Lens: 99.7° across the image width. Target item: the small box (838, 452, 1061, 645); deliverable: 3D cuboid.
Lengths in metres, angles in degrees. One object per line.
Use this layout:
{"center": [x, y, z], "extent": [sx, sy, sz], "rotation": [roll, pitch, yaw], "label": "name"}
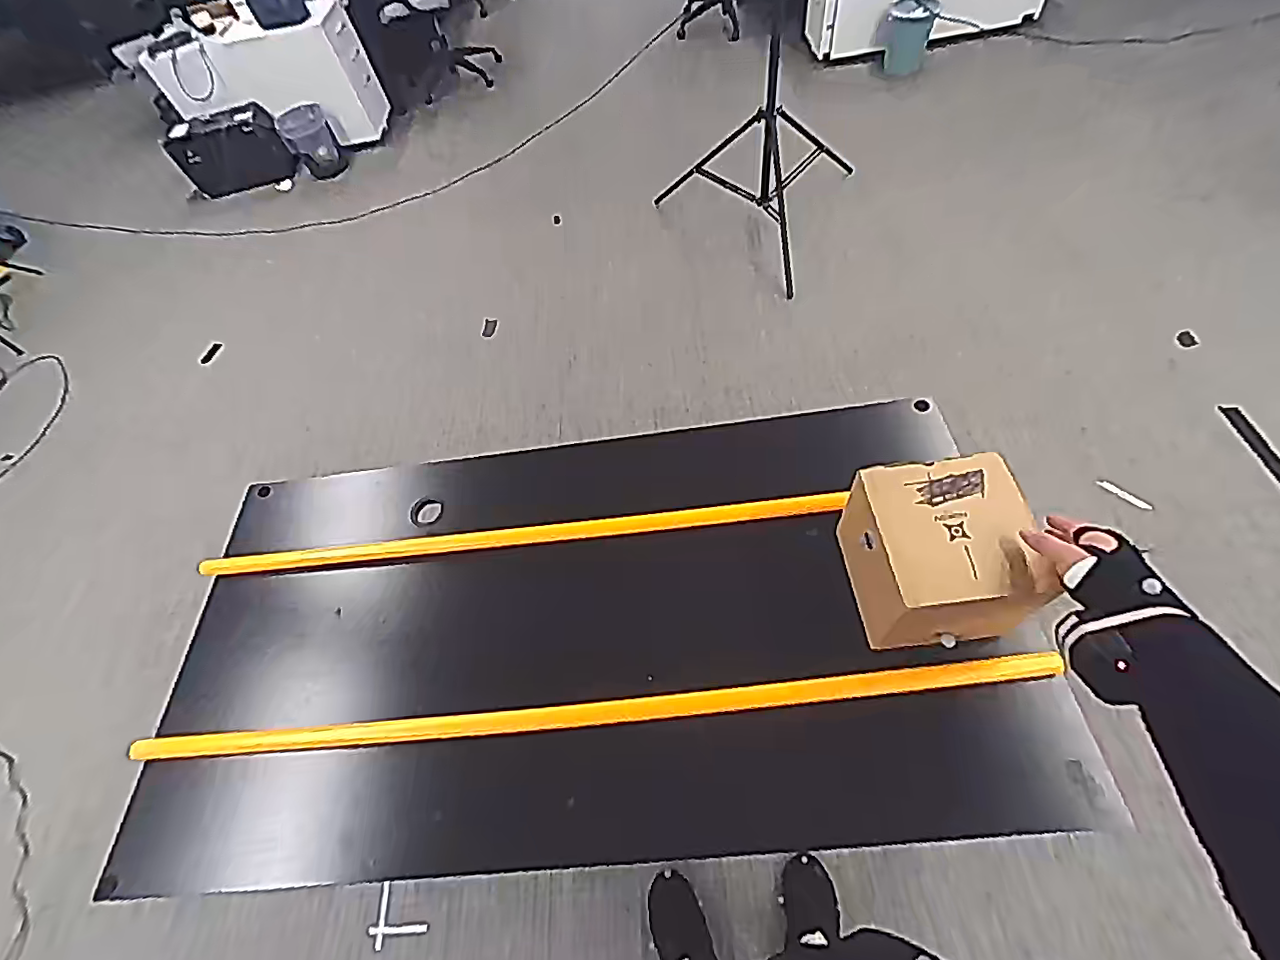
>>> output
{"center": [0.361, 0.091, 0.676], "extent": [0.168, 0.176, 0.179], "rotation": [-8, 58, 5], "label": "small box"}
